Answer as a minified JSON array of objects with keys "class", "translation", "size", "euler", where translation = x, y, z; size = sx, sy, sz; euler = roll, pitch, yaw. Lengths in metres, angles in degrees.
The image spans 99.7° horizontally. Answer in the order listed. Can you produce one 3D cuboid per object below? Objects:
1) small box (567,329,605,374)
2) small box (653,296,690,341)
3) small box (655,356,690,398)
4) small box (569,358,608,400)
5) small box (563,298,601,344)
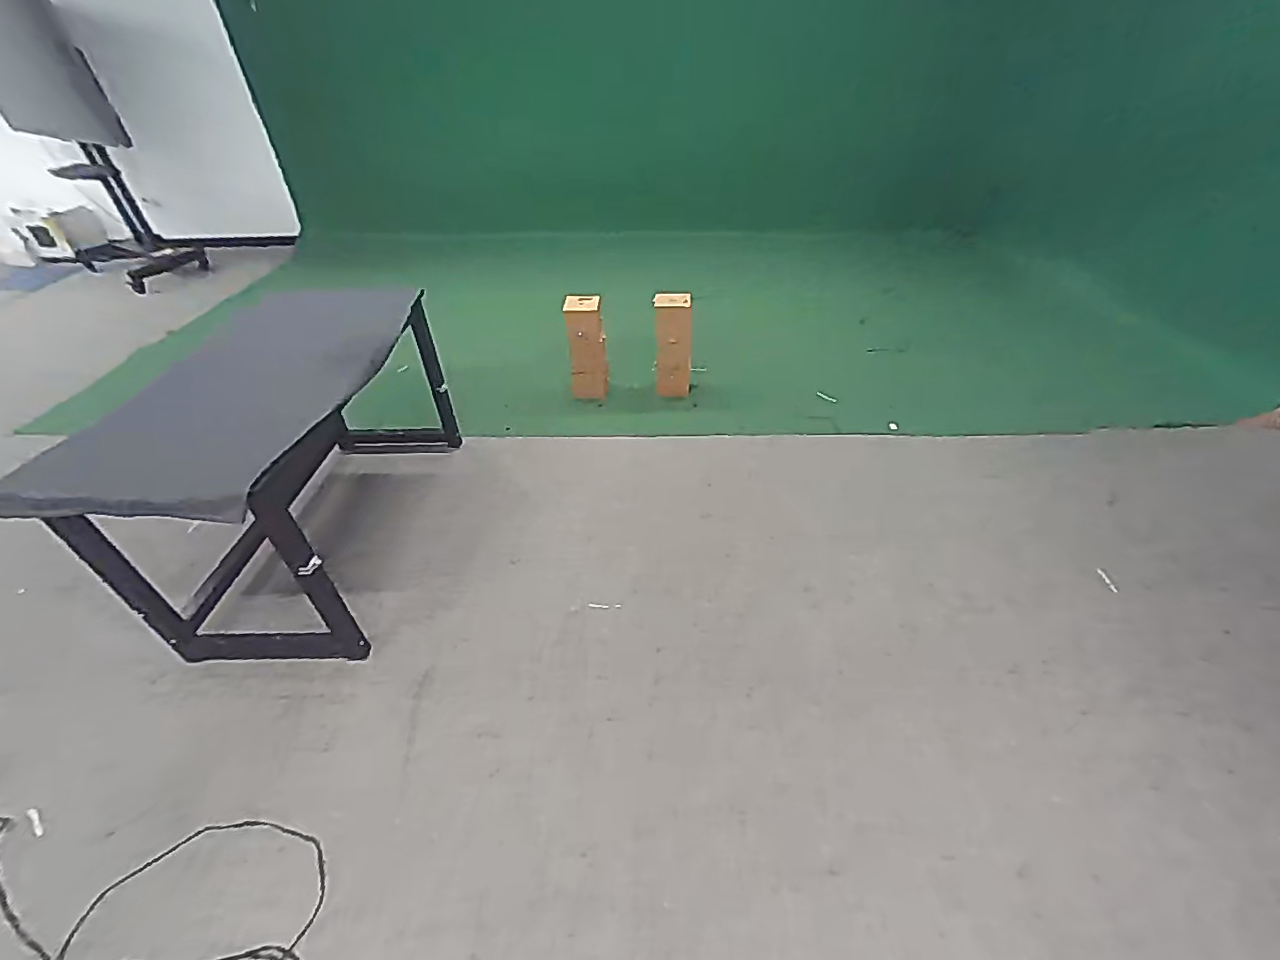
[{"class":"small box","translation":[-0.274,-0.658,2.770],"size":[0.179,0.176,0.168],"euler":[-2,40,0]},{"class":"small box","translation":[0.156,-0.799,2.671],"size":[0.179,0.176,0.168],"euler":[1,40,4]},{"class":"small box","translation":[0.174,-0.547,2.881],"size":[0.179,0.176,0.168],"euler":[2,41,5]},{"class":"small box","translation":[-0.269,-0.541,2.883],"size":[0.179,0.176,0.168],"euler":[3,40,6]},{"class":"small box","translation":[-0.283,-0.787,2.668],"size":[0.168,0.176,0.179],"euler":[0,41,2]}]
